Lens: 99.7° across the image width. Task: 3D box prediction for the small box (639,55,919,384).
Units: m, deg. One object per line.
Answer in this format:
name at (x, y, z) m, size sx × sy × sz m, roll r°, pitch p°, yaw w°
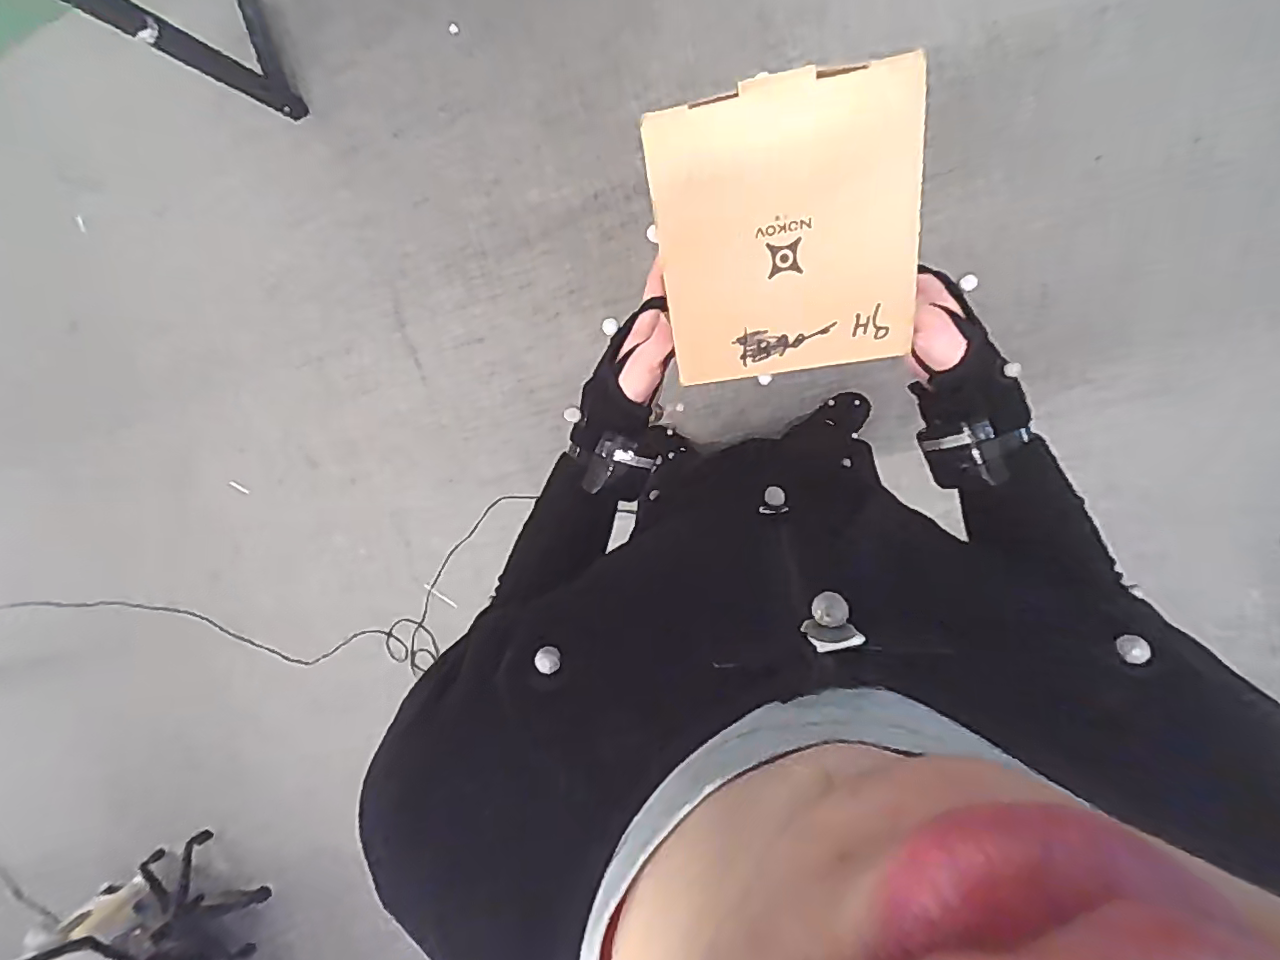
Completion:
small box at (0.100, -0.193, 0.423) m, size 0.168 × 0.176 × 0.179 m, roll -5°, pitch 119°, yaw 12°
